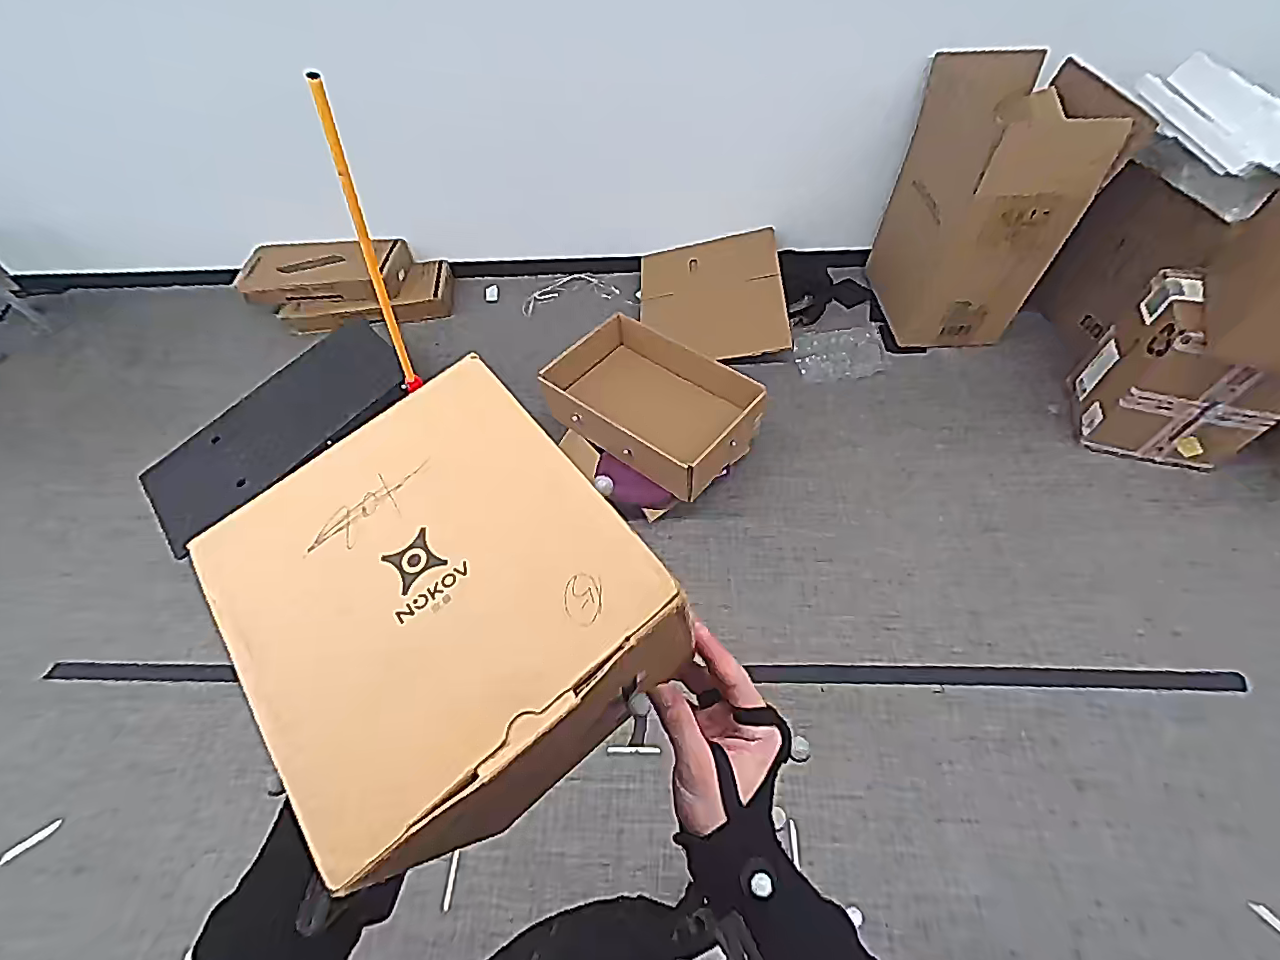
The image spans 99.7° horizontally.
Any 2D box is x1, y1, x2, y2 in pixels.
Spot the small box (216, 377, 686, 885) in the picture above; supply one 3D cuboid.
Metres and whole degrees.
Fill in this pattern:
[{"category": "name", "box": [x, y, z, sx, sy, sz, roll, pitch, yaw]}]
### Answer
[{"category": "small box", "box": [-0.086, 0.082, 0.322, 0.168, 0.176, 0.179, -39, 65, -13]}]
